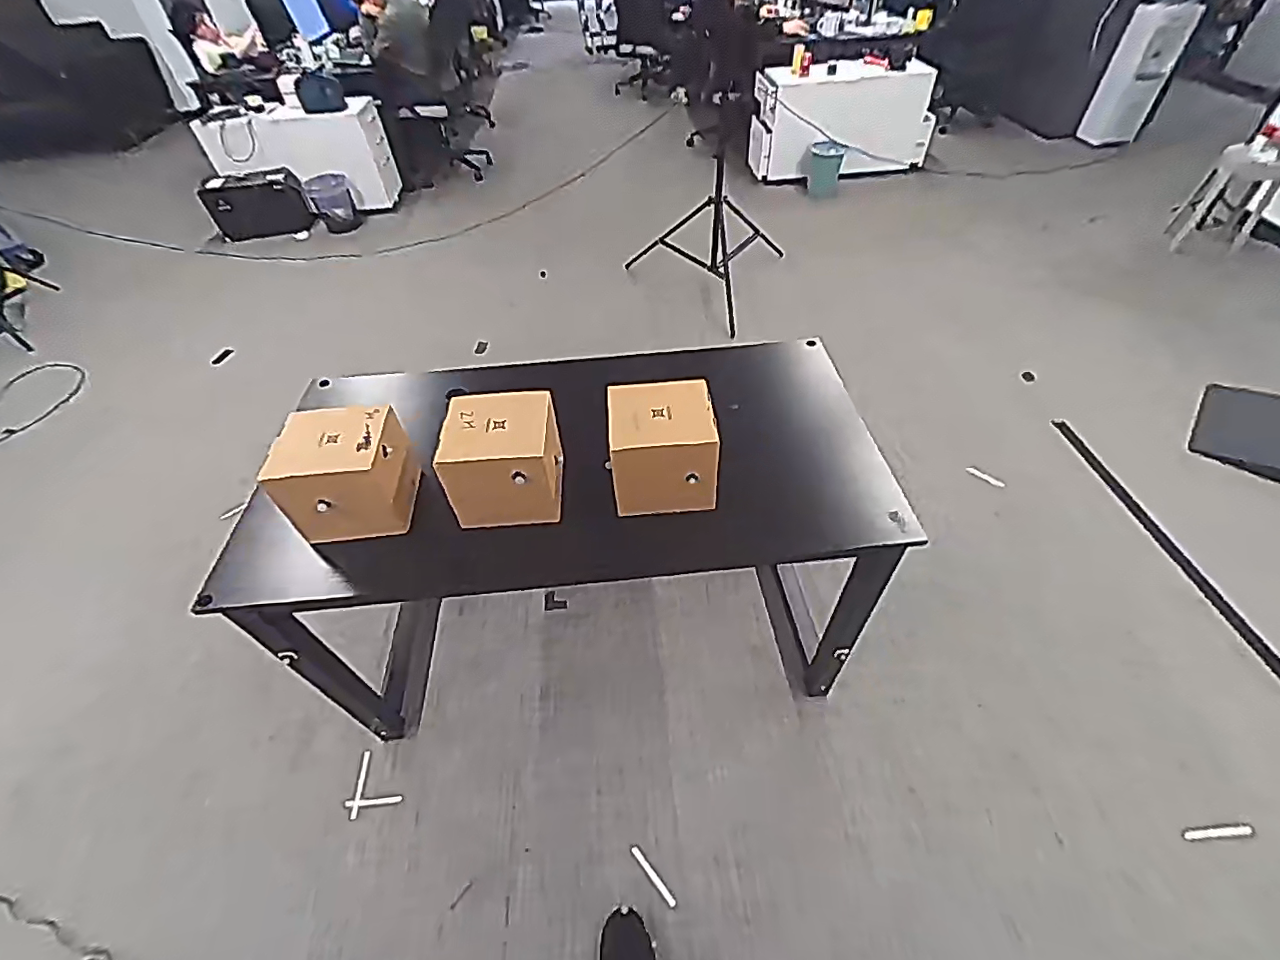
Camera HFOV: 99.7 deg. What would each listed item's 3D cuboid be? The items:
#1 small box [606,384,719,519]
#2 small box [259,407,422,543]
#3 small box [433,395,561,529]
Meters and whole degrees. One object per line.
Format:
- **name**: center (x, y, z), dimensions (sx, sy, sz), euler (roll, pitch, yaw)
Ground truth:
- **small box**: center (0.035, -0.049, 0.958), dimensions (0.179, 0.176, 0.168), euler (-5, 46, -2)
- **small box**: center (-0.510, -0.004, 0.951), dimensions (0.179, 0.176, 0.168), euler (-7, 48, -2)
- **small box**: center (-0.238, -0.030, 0.956), dimensions (0.179, 0.176, 0.168), euler (-4, 47, 0)
